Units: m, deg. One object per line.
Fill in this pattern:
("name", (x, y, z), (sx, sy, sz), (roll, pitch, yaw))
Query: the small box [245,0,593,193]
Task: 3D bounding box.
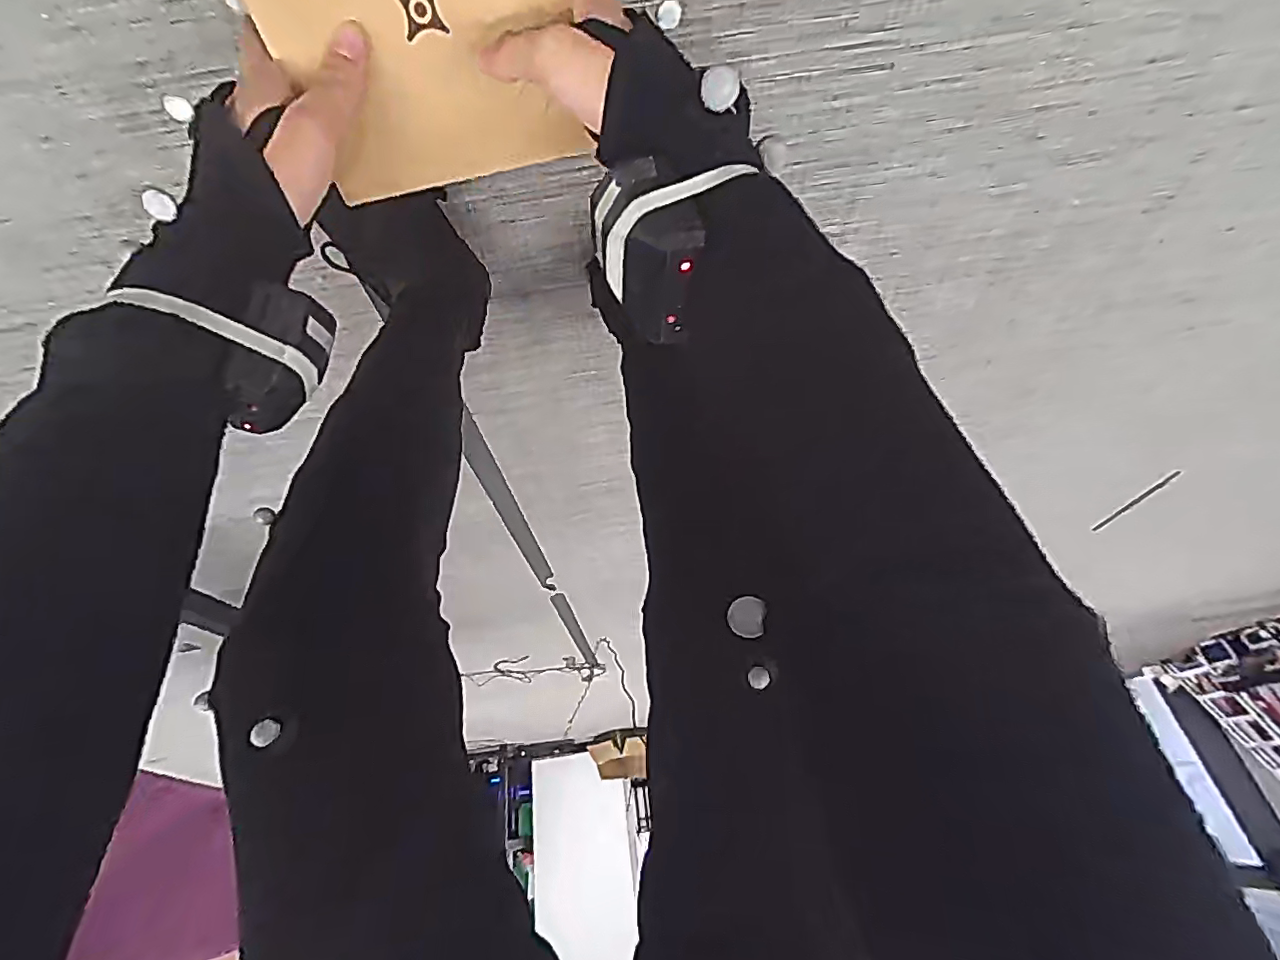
("small box", (-0.134, -0.310, 0.329), (0.168, 0.176, 0.179), (-15, 138, -4))
